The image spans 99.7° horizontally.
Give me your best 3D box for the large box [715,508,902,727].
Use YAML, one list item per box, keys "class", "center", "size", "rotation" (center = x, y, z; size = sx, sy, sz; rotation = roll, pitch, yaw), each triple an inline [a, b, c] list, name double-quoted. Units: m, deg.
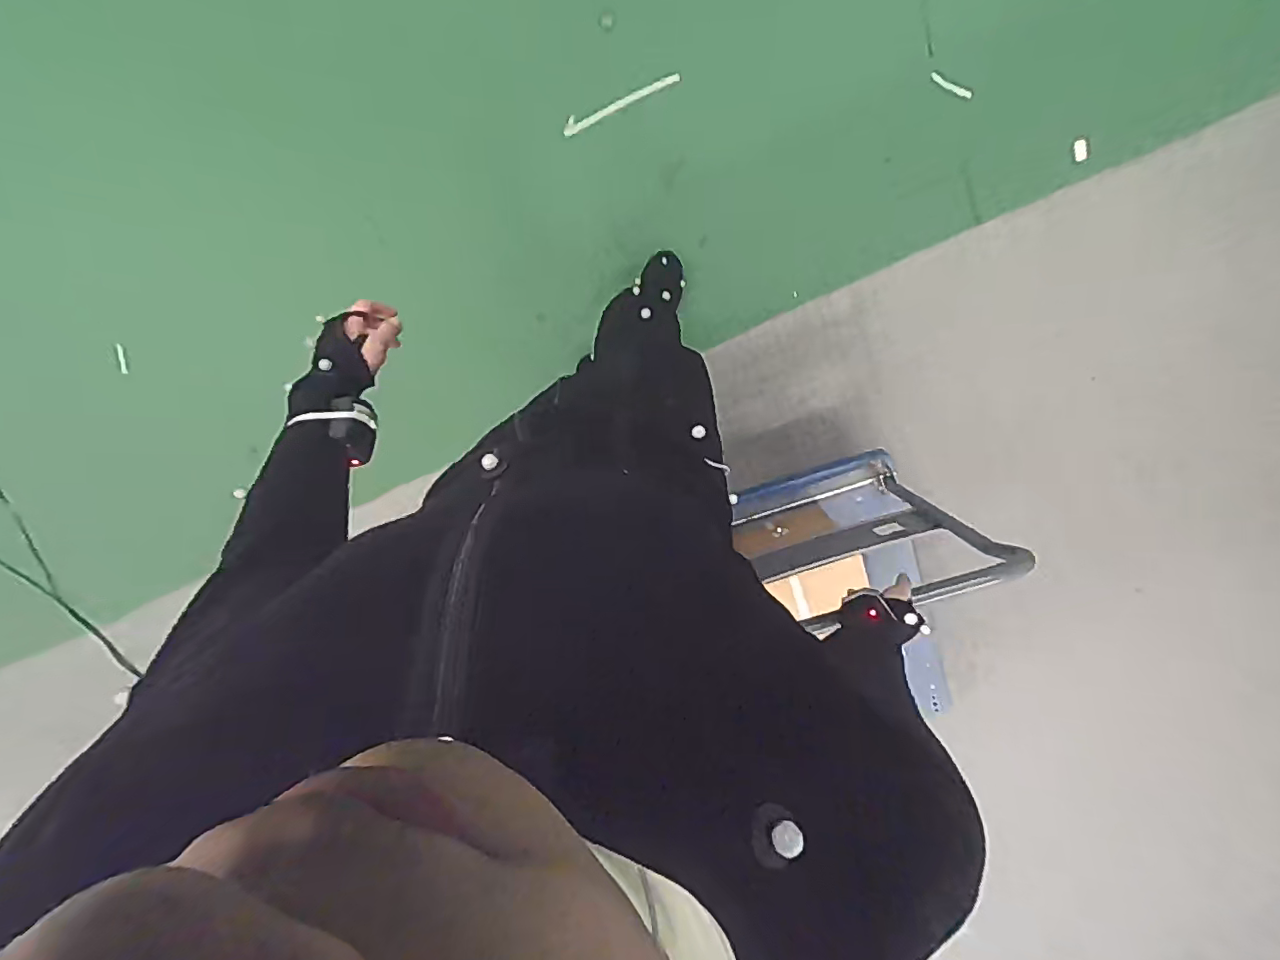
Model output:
- class: "large box"
  center: [0.418, 0.340, 1.407]
  size: [0.320, 0.320, 0.408]
  rotation: [-19, 105, 8]
